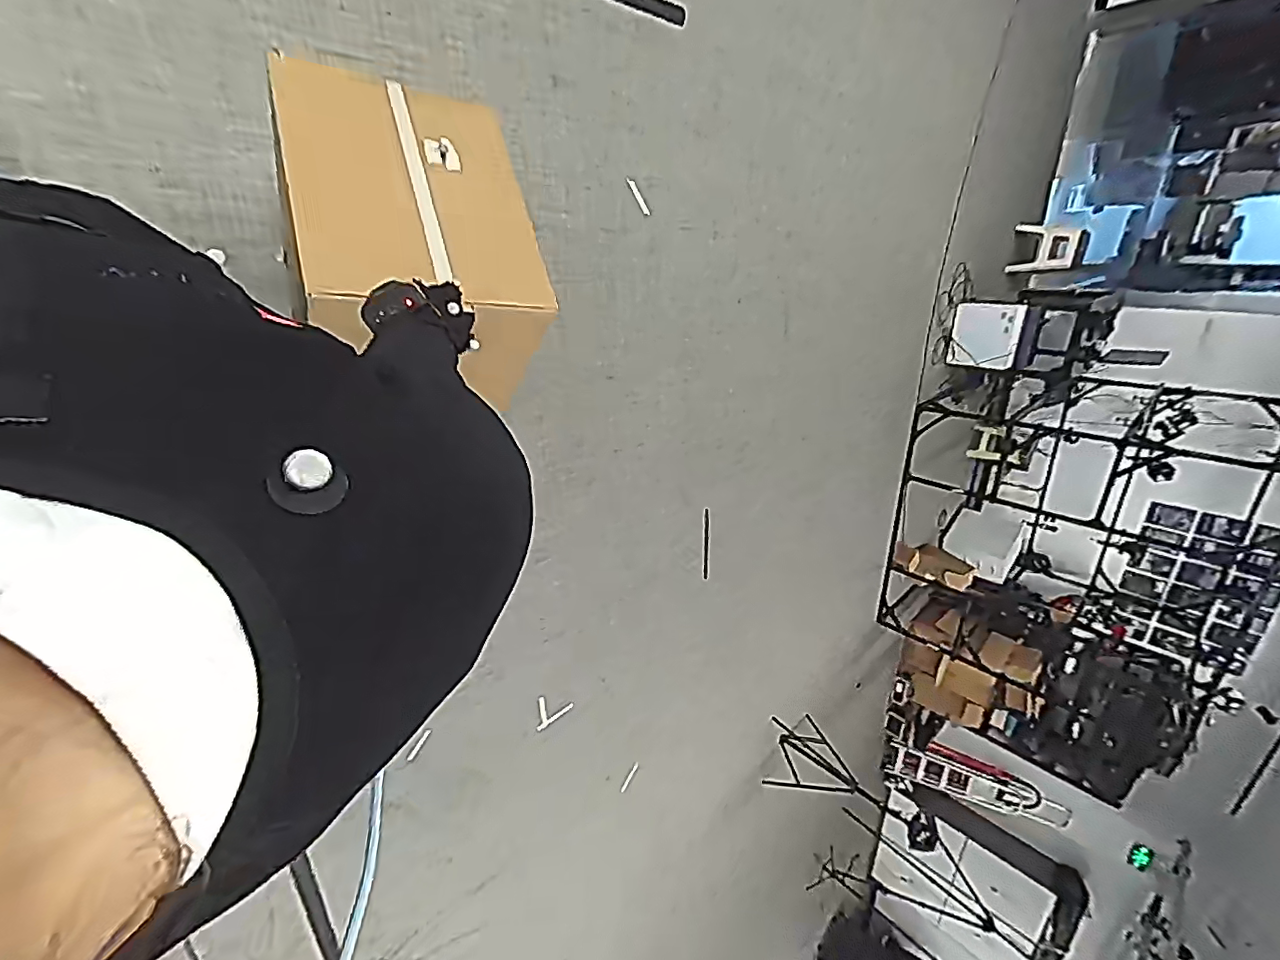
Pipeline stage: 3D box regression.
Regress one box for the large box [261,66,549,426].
[{"bbox_3d":[-0.392,-0.342,0.877,0.320,0.320,0.408,-8,68,-36],"label":"large box"}]
